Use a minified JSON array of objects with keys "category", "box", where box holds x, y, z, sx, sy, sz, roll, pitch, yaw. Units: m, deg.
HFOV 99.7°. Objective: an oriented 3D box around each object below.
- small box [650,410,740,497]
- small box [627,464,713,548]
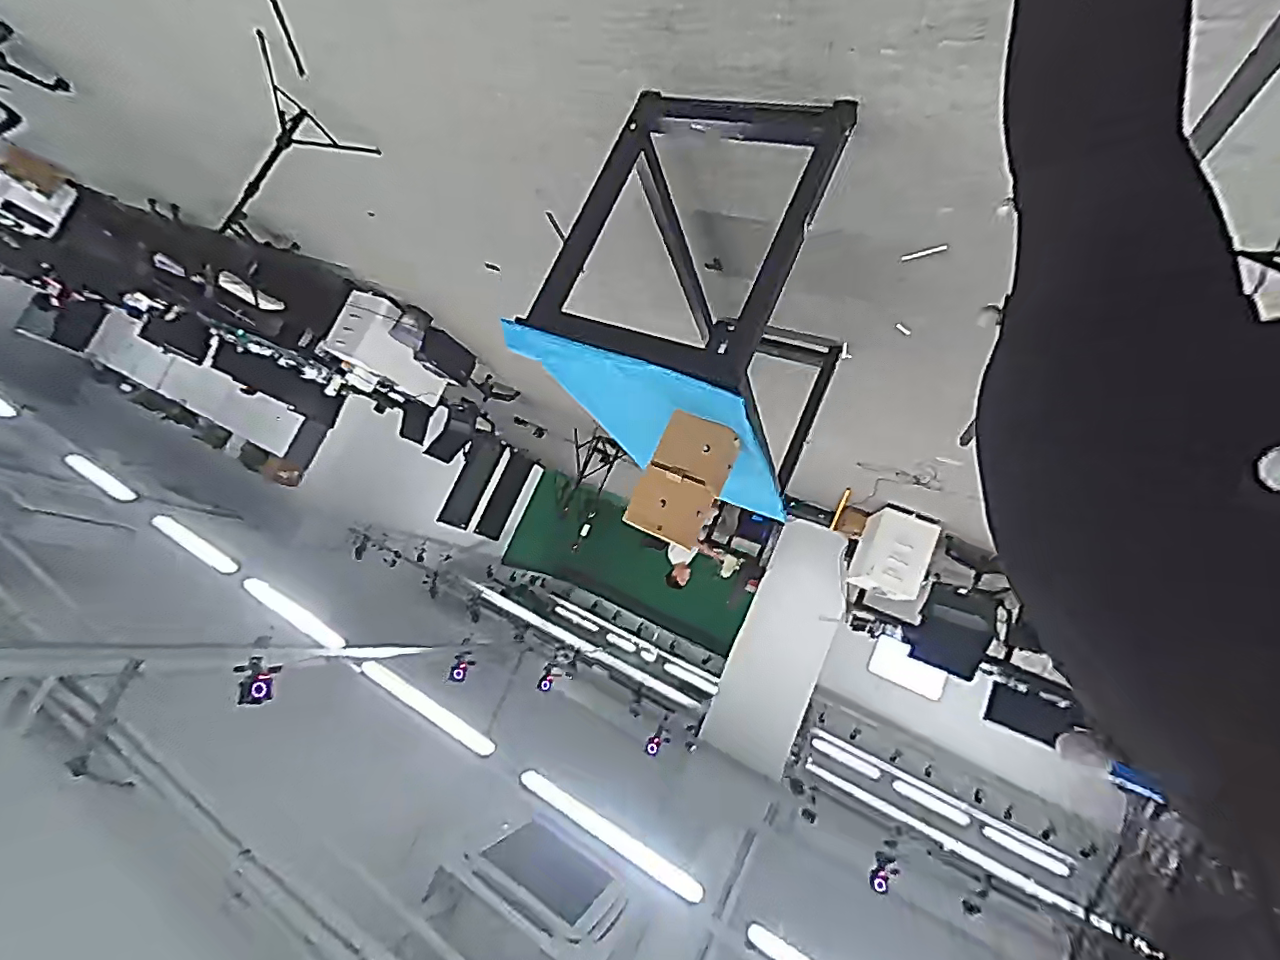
[{"category":"small box","box":[0.155,-0.068,1.497,0.179,0.176,0.168,21,172,23]},{"category":"small box","box":[0.082,0.077,1.473,0.168,0.176,0.179,23,175,21]}]
